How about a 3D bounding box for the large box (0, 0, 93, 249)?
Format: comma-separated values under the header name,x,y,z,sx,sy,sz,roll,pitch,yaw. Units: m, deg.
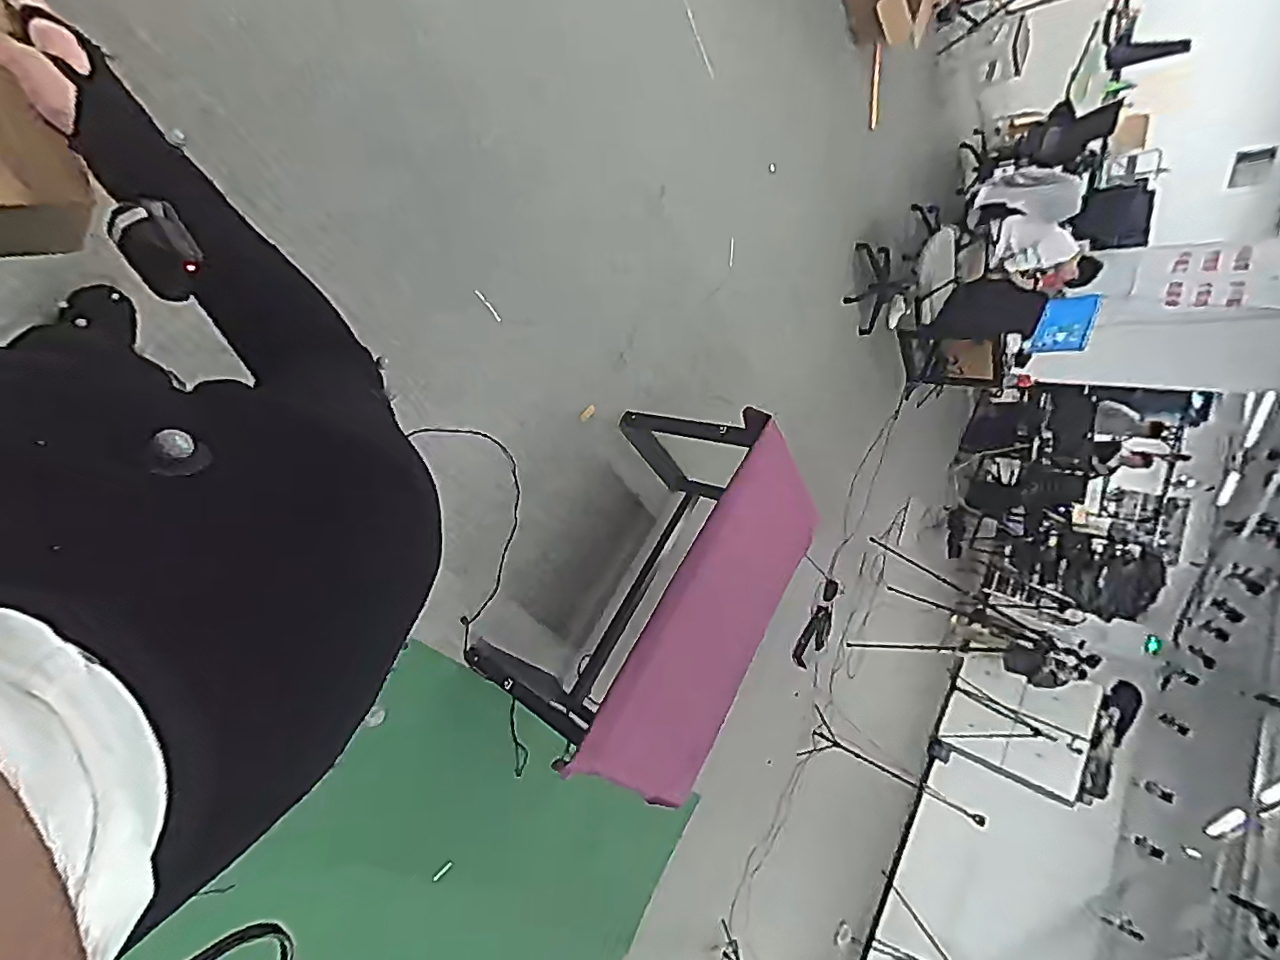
name,x,y,z,sx,sy,sz,roll,pitch,yaw
large box,-0.743,-0.335,0.389,0.408,0.320,0.320,-30,121,-41
